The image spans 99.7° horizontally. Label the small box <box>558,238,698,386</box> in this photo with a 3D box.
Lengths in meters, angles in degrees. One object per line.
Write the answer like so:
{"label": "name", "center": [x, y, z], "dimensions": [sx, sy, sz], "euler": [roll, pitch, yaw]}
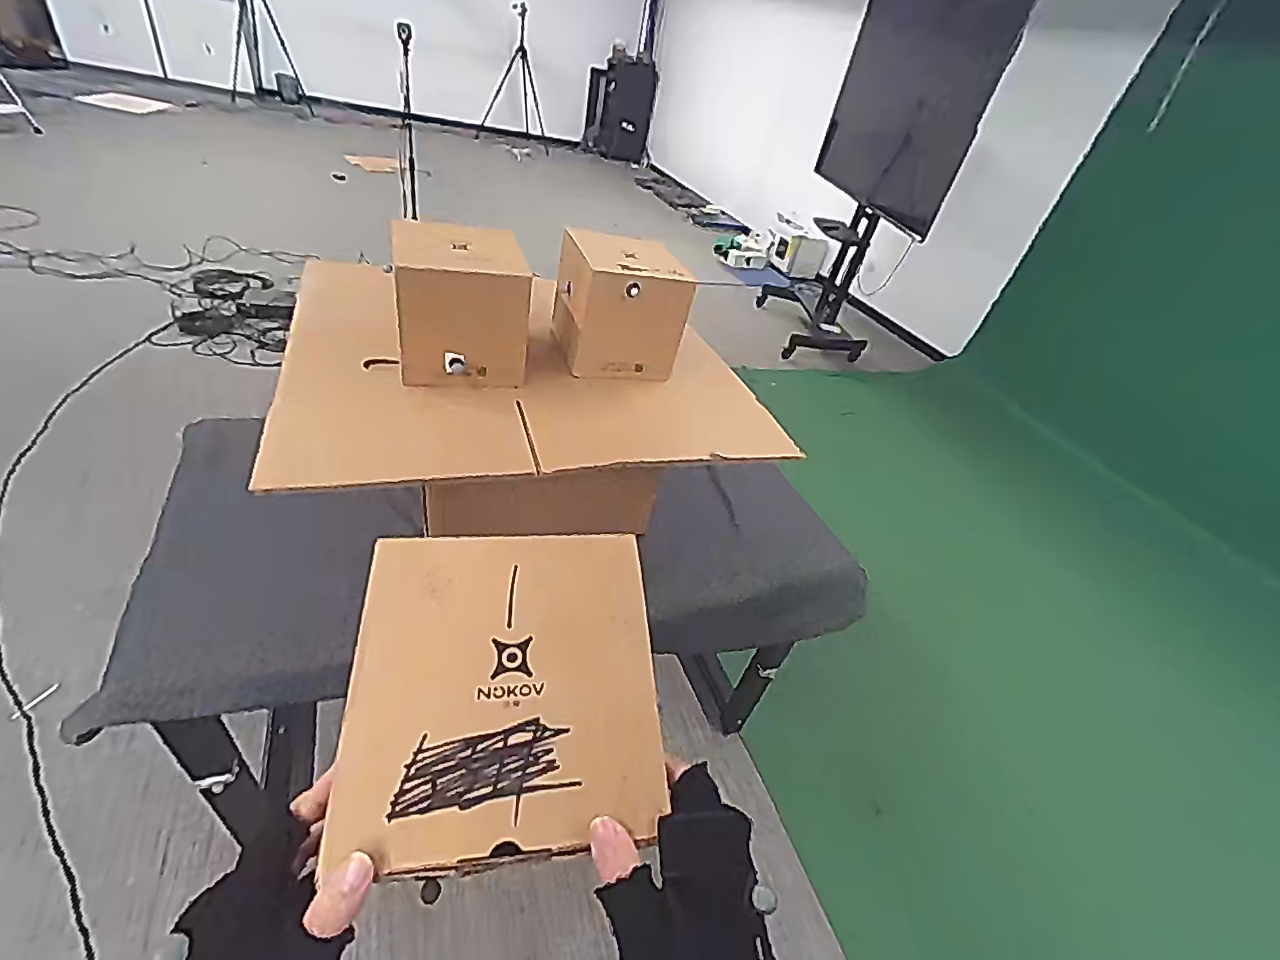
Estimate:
{"label": "small box", "center": [-0.031, -0.270, 0.876], "dimensions": [0.168, 0.176, 0.179], "euler": [-2, 40, -22]}

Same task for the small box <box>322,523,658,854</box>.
{"label": "small box", "center": [-0.089, 0.147, 0.376], "dimensions": [0.168, 0.176, 0.179], "euler": [0, 54, -11]}

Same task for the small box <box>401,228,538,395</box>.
{"label": "small box", "center": [-0.250, -0.239, 0.777], "dimensions": [0.168, 0.176, 0.179], "euler": [-5, 43, -22]}
